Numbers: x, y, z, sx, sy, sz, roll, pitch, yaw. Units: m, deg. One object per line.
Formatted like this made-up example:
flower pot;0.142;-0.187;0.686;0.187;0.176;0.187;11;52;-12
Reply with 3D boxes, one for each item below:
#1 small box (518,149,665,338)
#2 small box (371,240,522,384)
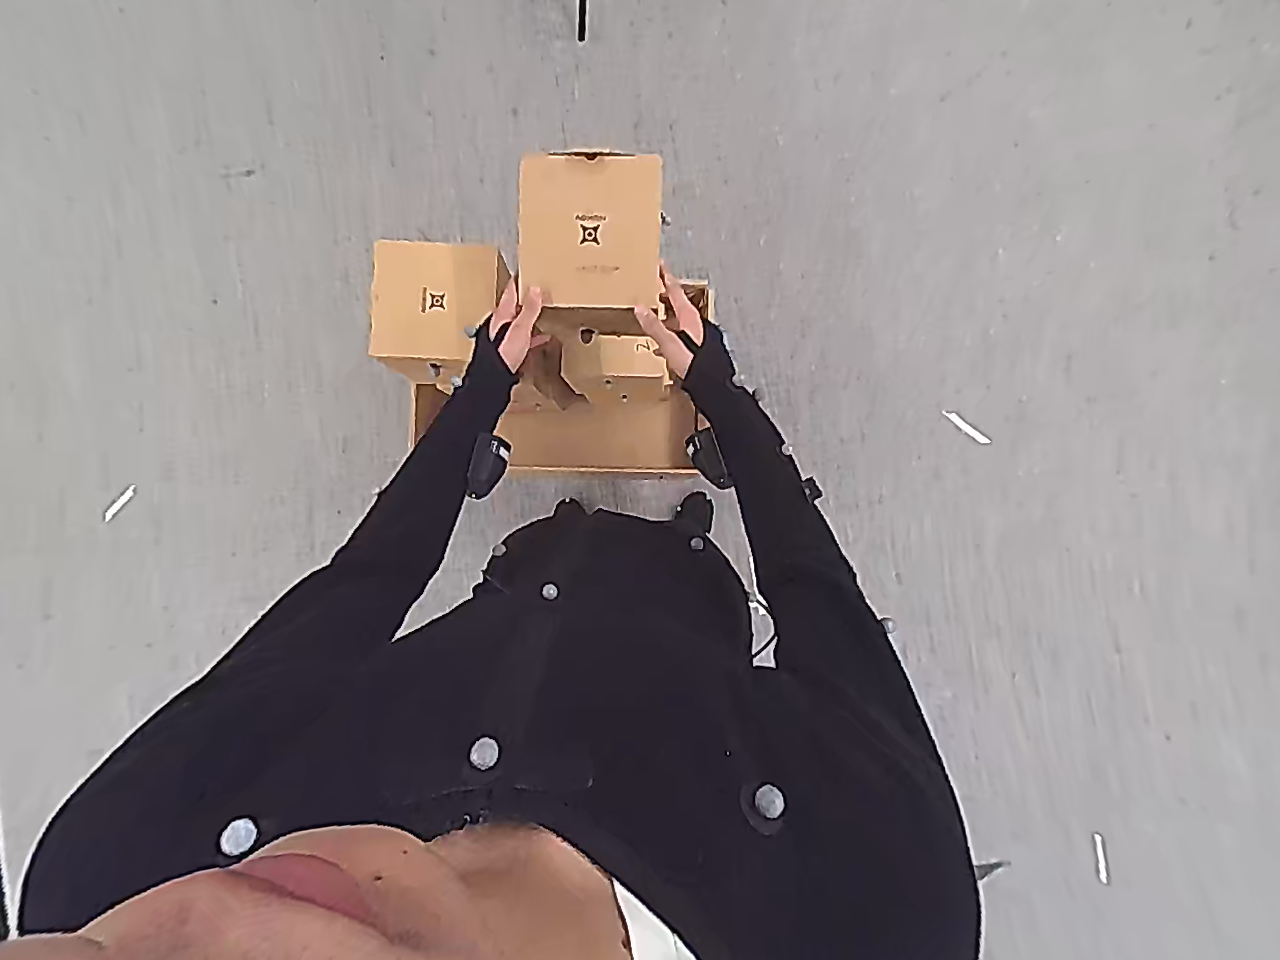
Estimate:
small box;-0.055;-0.290;0.695;0.168;0.176;0.179;1;93;2
small box;-0.283;-0.246;0.827;0.179;0.176;0.168;2;88;0
